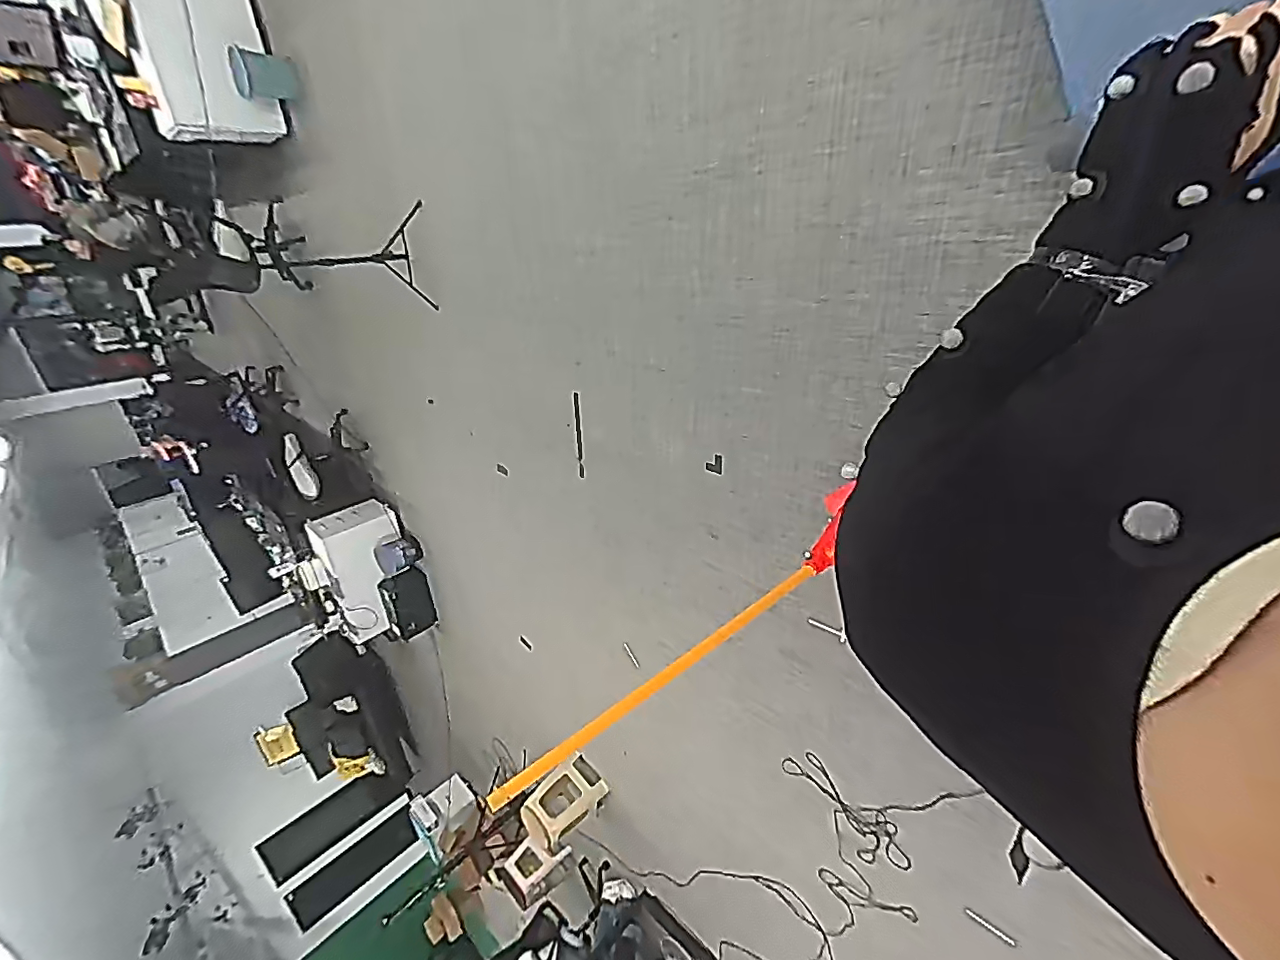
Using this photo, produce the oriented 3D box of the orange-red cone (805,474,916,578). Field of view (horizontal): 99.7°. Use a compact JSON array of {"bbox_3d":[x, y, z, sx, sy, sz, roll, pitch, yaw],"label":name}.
[{"bbox_3d":[0.527,0.154,1.401,0.198,0.360,0.199,56,138,7],"label":"orange-red cone"}]
